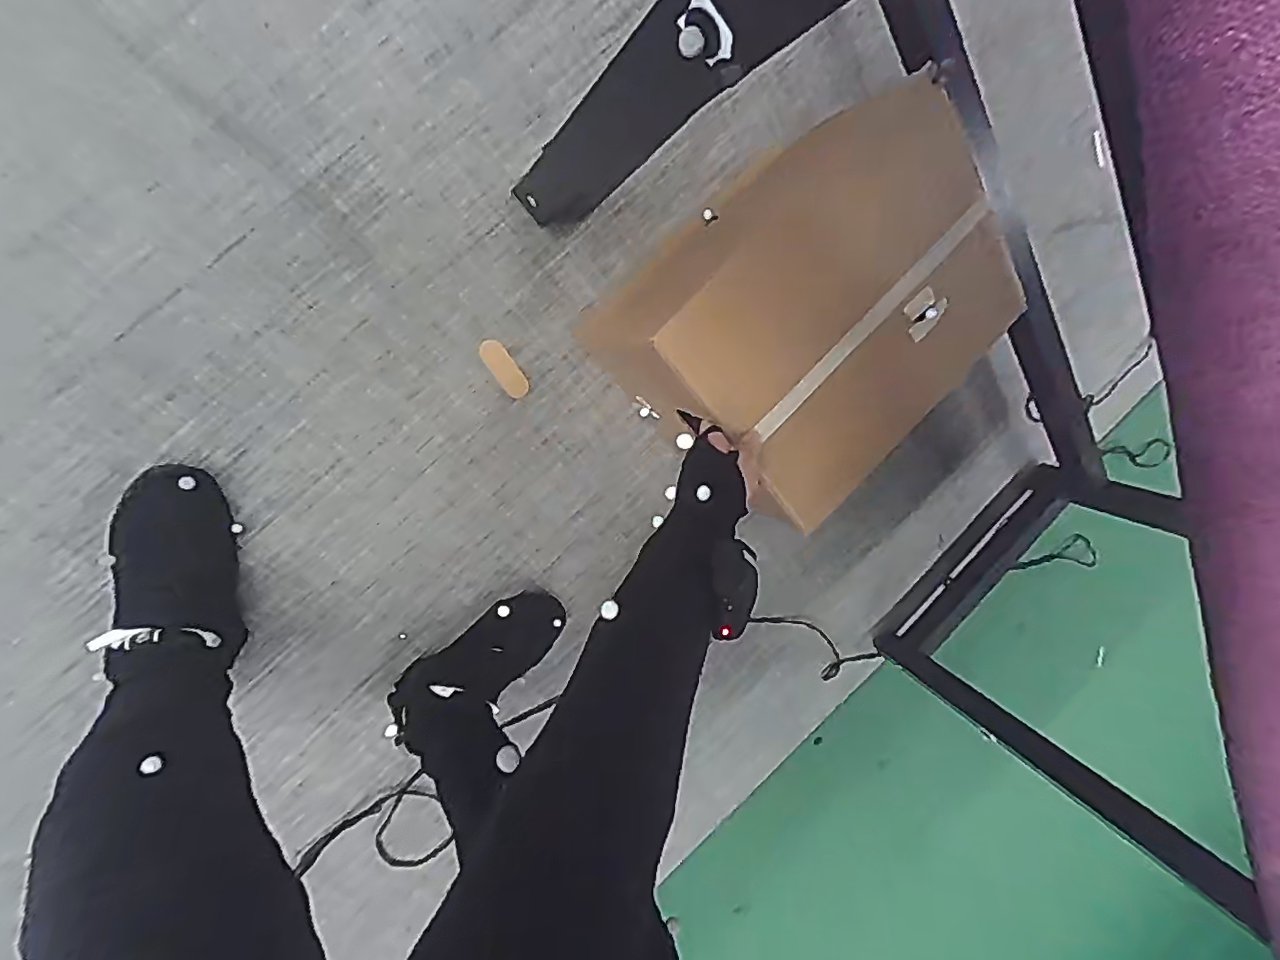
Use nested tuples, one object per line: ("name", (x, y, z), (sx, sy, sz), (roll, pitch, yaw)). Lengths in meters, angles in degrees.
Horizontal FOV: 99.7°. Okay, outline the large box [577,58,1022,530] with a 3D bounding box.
("large box", (0.186, -0.215, 0.717), (0.408, 0.320, 0.320), (-46, 117, -4))
